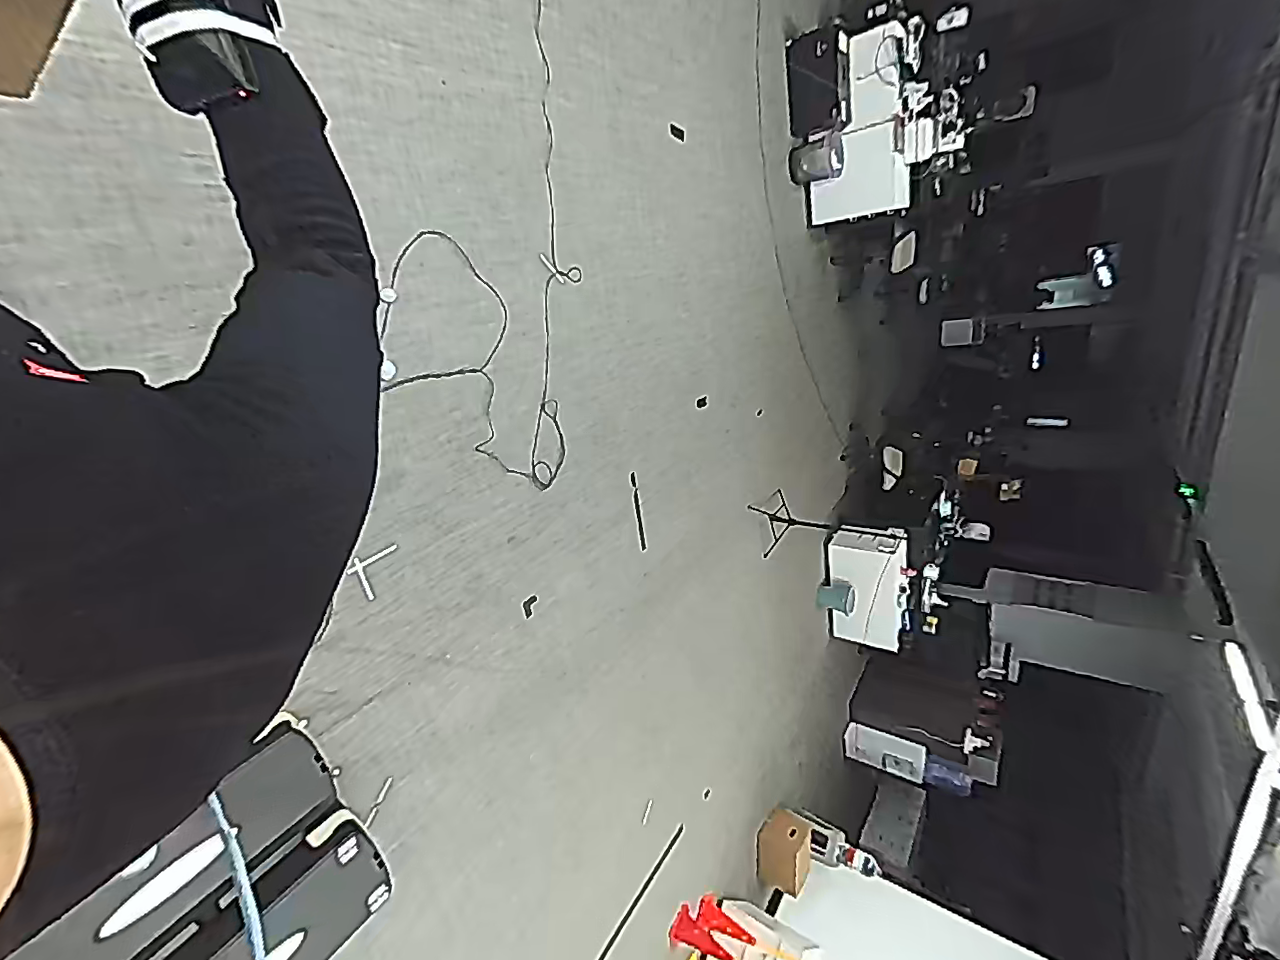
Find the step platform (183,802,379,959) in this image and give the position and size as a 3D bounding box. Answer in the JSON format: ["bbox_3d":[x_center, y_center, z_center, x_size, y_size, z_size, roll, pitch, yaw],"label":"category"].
[{"bbox_3d":[-0.981,1.137,1.258,0.684,0.204,0.286,-35,122,-44],"label":"step platform"}]
